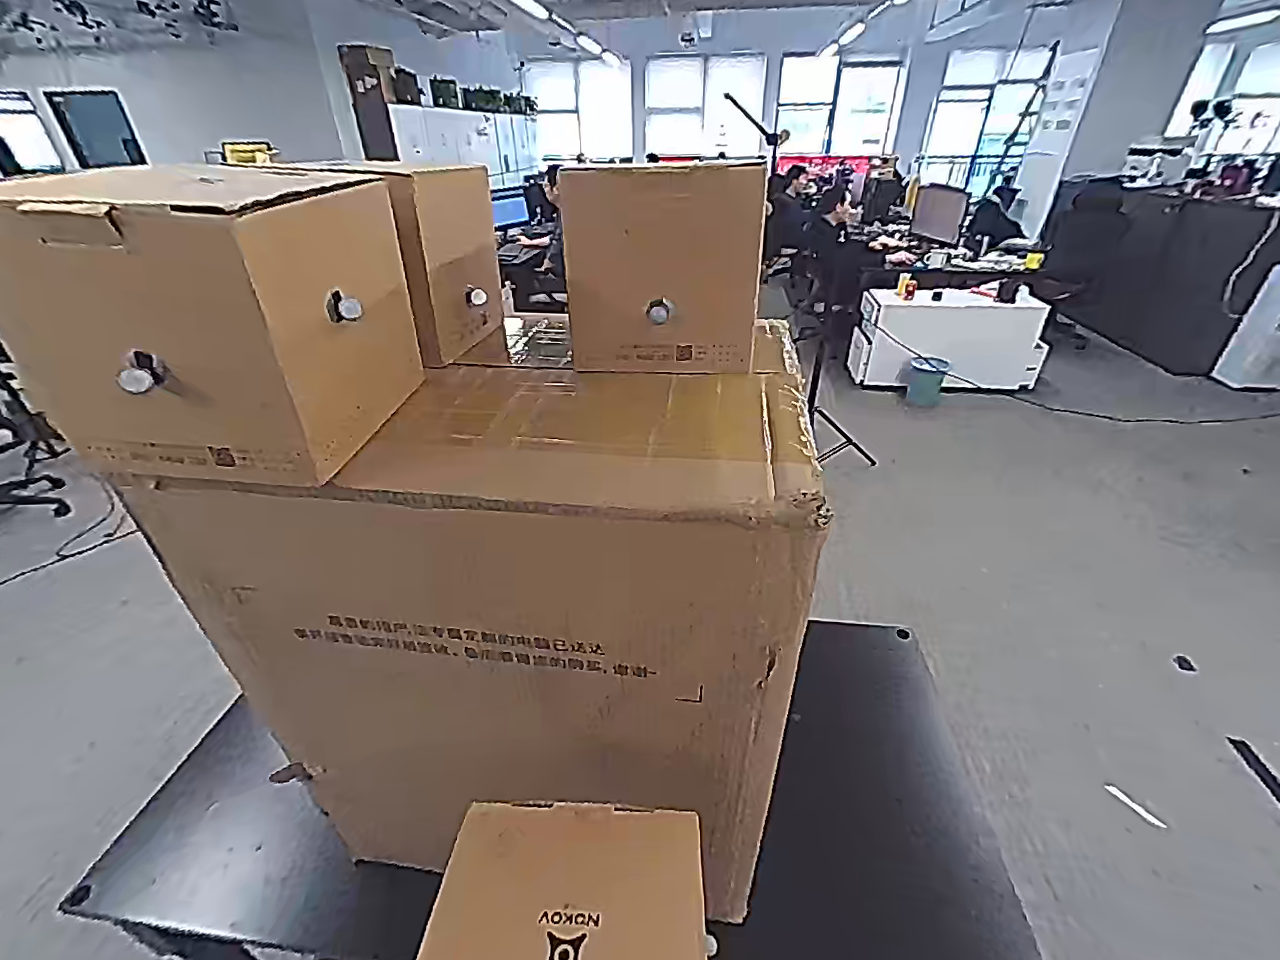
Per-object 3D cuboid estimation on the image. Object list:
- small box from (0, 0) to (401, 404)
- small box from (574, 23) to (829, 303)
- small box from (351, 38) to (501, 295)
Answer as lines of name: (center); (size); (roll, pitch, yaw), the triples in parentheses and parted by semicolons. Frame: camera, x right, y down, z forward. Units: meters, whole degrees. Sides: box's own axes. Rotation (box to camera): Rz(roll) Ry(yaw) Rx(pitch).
small box: (-0.257, -0.154, 0.302); (0.168, 0.176, 0.179); (4, 36, 1)
small box: (0.047, -0.254, 0.452); (0.168, 0.176, 0.179); (2, 31, 6)
small box: (-0.239, -0.265, 0.474); (0.179, 0.176, 0.168); (5, 32, 6)
